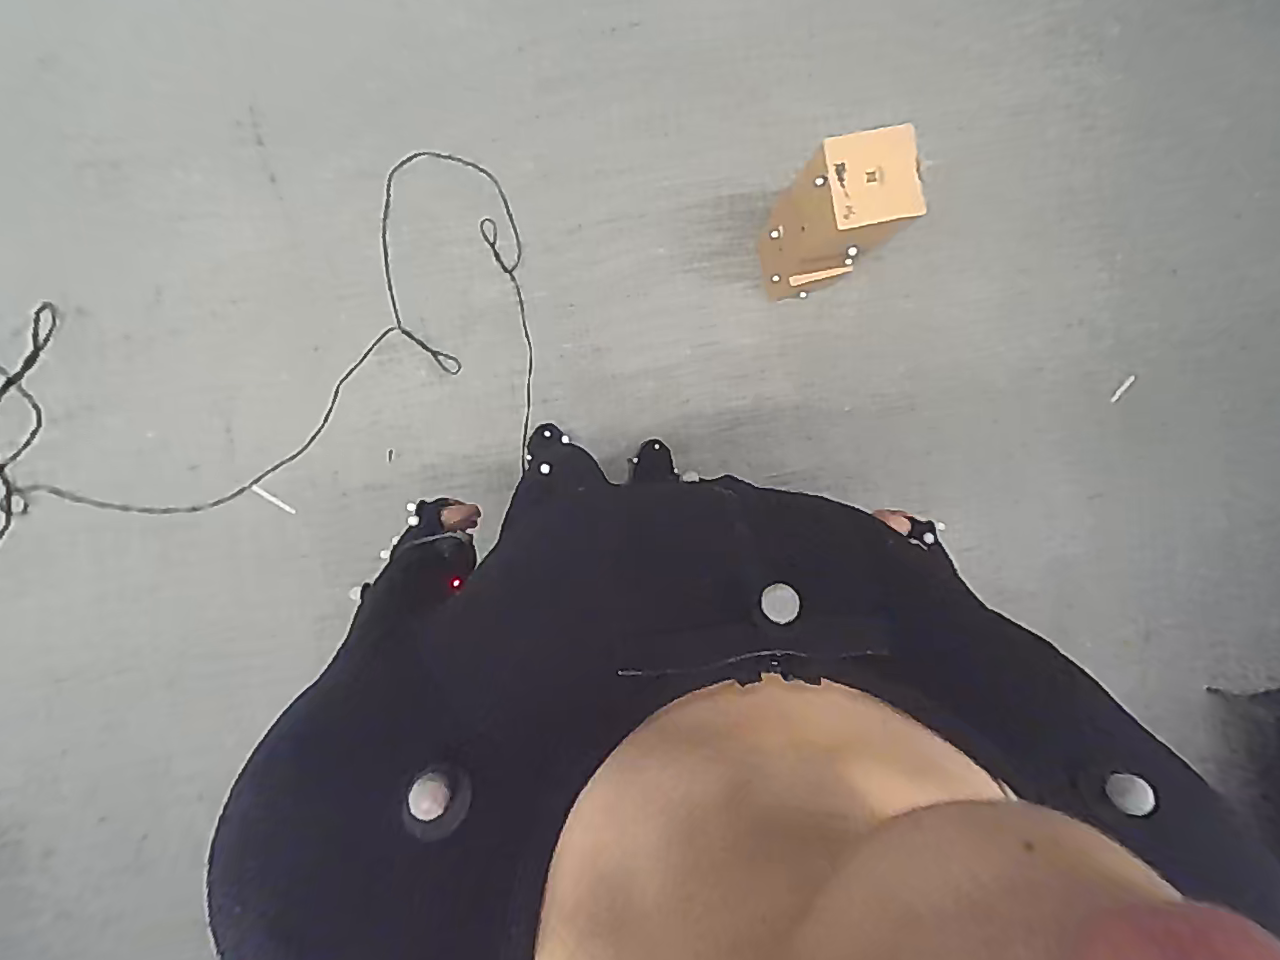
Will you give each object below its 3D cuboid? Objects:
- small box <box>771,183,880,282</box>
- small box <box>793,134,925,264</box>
[{"bbox_3d":[0.419,-0.569,1.237,0.179,0.176,0.168,-11,94,-3],"label":"small box"},{"bbox_3d":[0.427,-0.548,1.075,0.179,0.176,0.168,-11,94,-4],"label":"small box"}]
